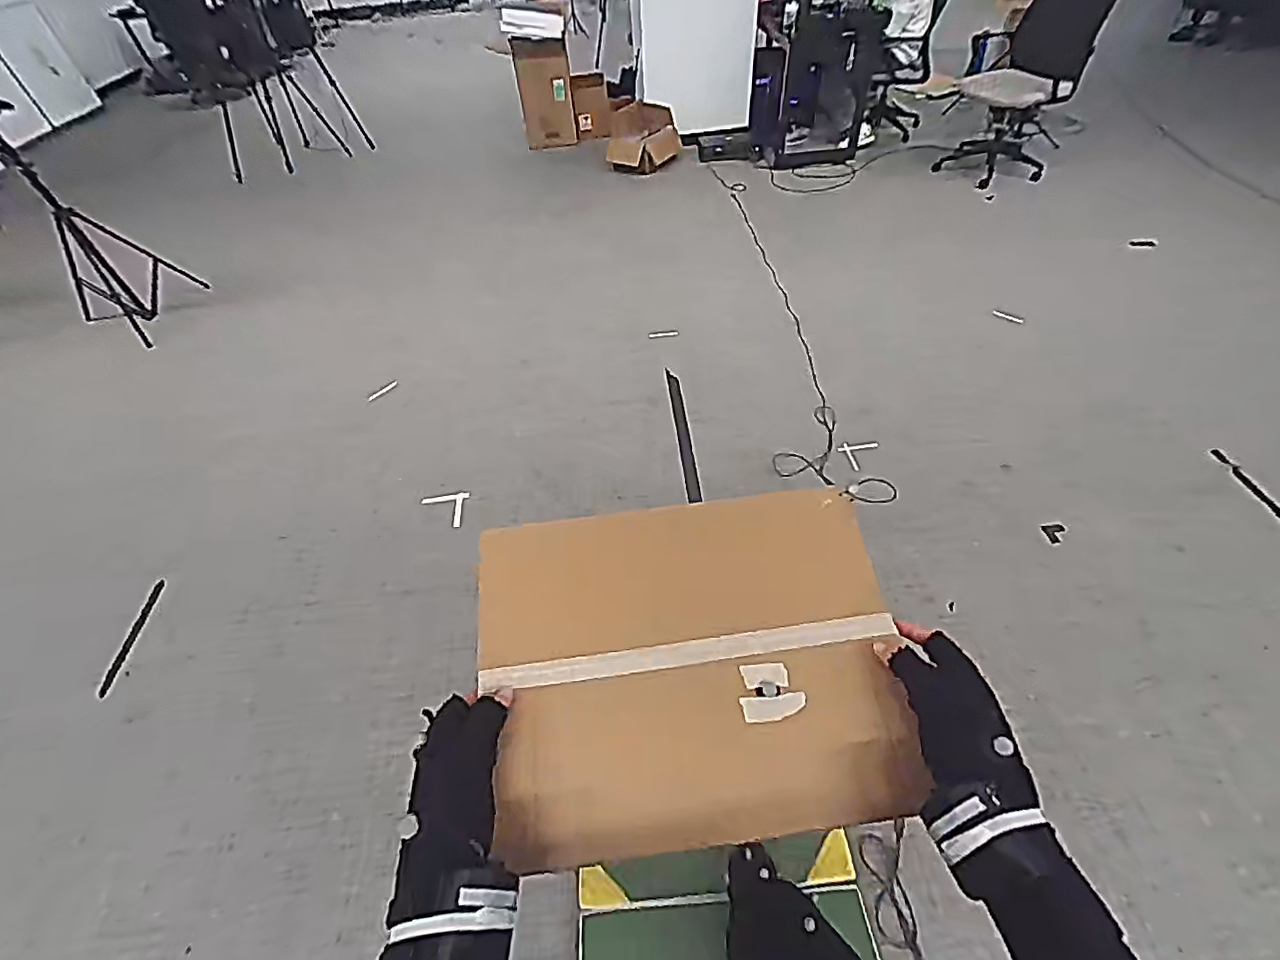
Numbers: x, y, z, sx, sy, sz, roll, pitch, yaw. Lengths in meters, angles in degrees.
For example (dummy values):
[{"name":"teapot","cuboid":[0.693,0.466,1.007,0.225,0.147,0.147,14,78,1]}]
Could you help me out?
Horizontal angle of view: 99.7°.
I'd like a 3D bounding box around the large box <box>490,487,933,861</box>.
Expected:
[{"name":"large box","cuboid":[0.050,0.239,0.675,0.408,0.320,0.320,-7,62,-3]}]
